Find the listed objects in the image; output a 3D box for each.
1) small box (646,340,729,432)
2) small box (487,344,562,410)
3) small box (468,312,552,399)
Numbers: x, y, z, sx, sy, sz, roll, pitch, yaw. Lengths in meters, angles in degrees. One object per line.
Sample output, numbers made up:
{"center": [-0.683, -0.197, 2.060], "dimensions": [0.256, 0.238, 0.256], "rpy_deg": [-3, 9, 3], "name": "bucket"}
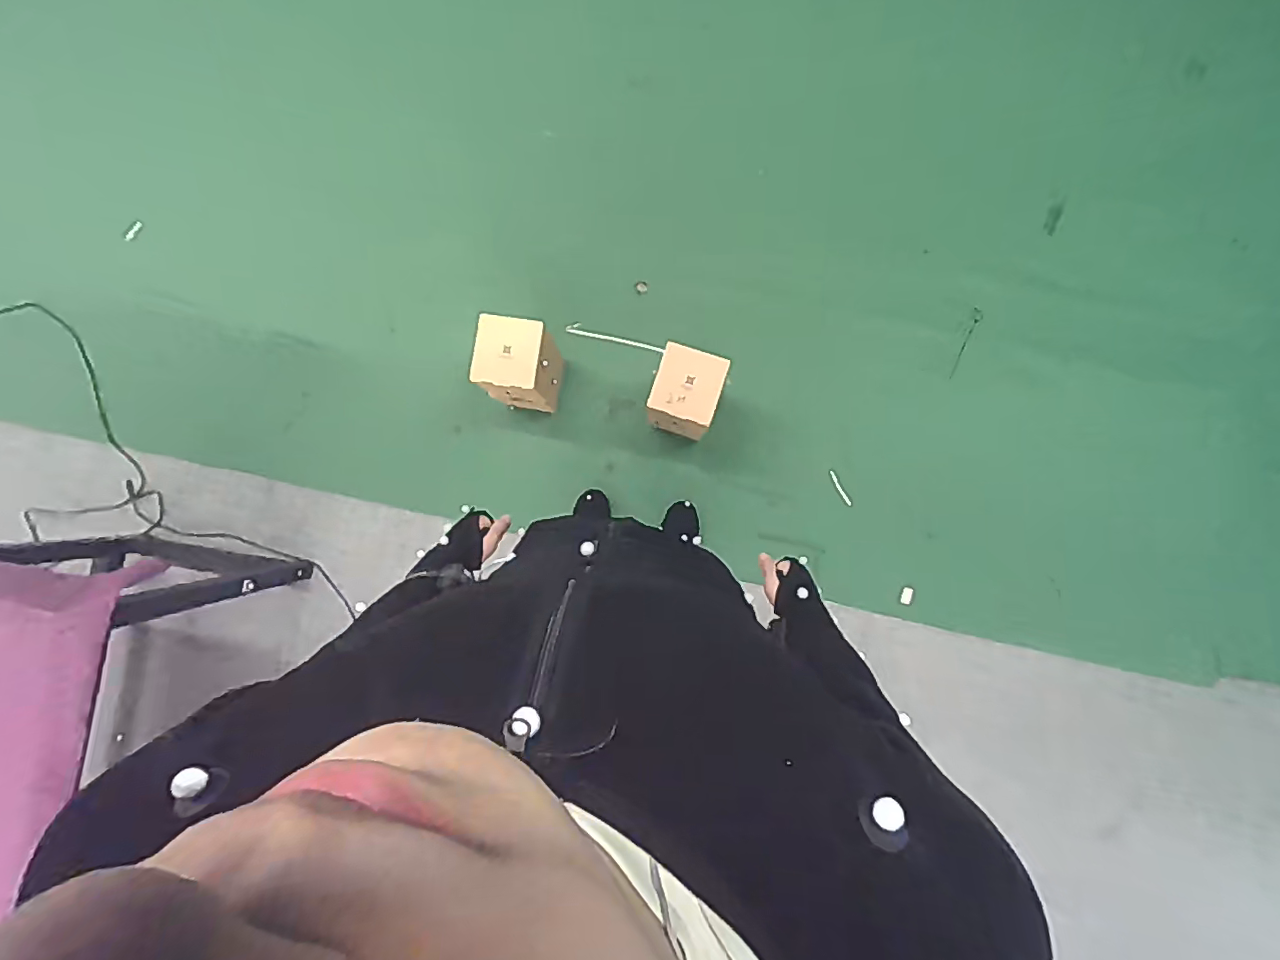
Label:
{"center": [0.118, -0.239, 1.408], "dimensions": [0.168, 0.176, 0.179], "rpy_deg": [18, 90, 3], "name": "small box"}
{"center": [-0.333, -0.311, 1.591], "dimensions": [0.168, 0.176, 0.179], "rpy_deg": [10, 88, 2], "name": "small box"}
{"center": [-0.335, -0.323, 1.429], "dimensions": [0.168, 0.176, 0.179], "rpy_deg": [9, 89, 2], "name": "small box"}
